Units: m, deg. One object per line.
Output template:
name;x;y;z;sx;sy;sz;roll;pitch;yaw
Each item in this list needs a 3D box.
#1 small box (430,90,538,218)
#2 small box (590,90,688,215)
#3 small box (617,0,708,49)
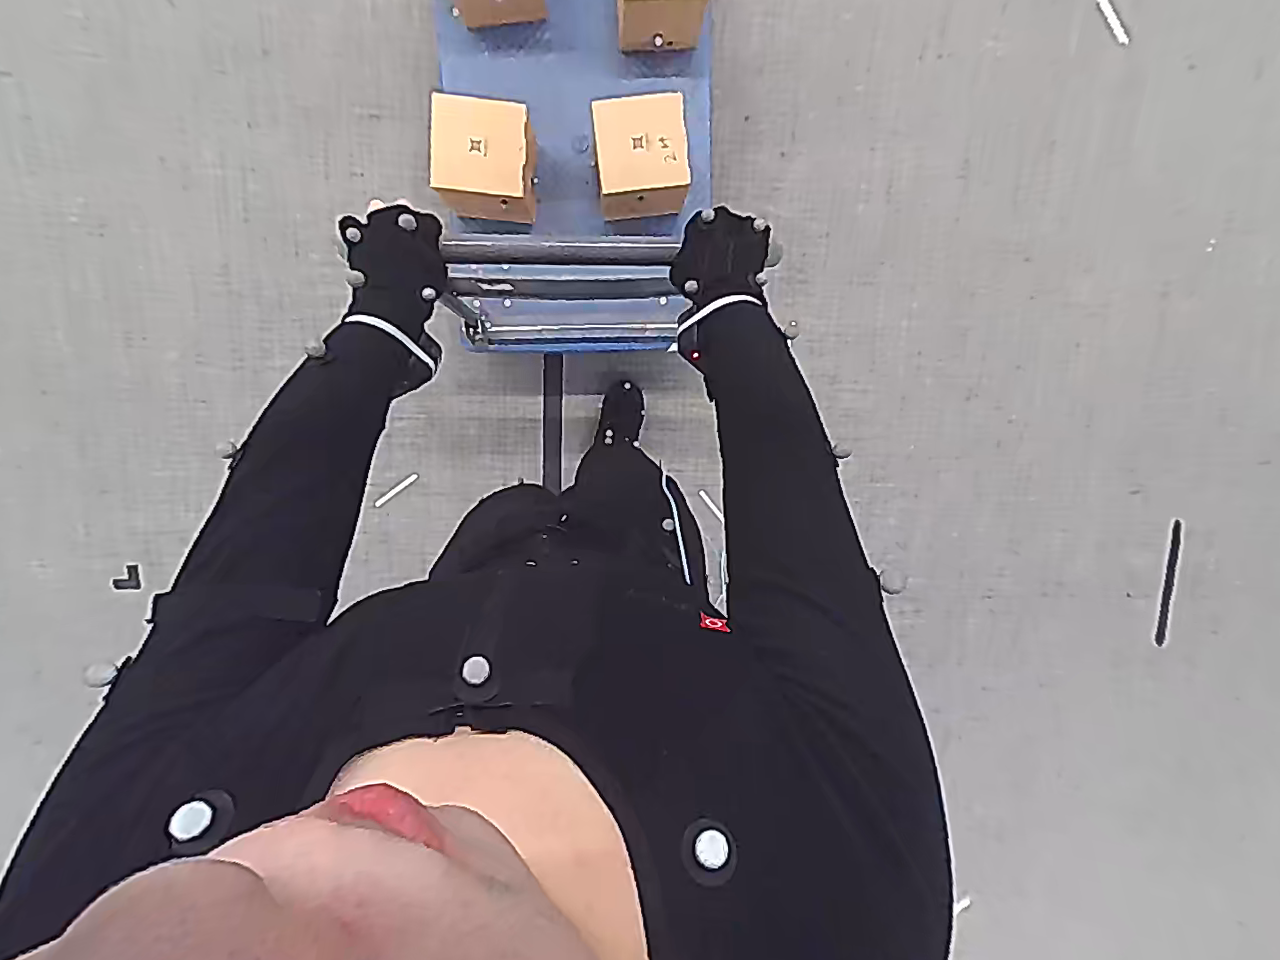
small box;-0.309;-0.647;1.094;0.179;0.176;0.168;4;99;-5
small box;-0.003;-0.659;1.108;0.179;0.176;0.168;-7;100;-2
small box;0.037;-0.990;1.055;0.168;0.176;0.179;-5;101;-3
